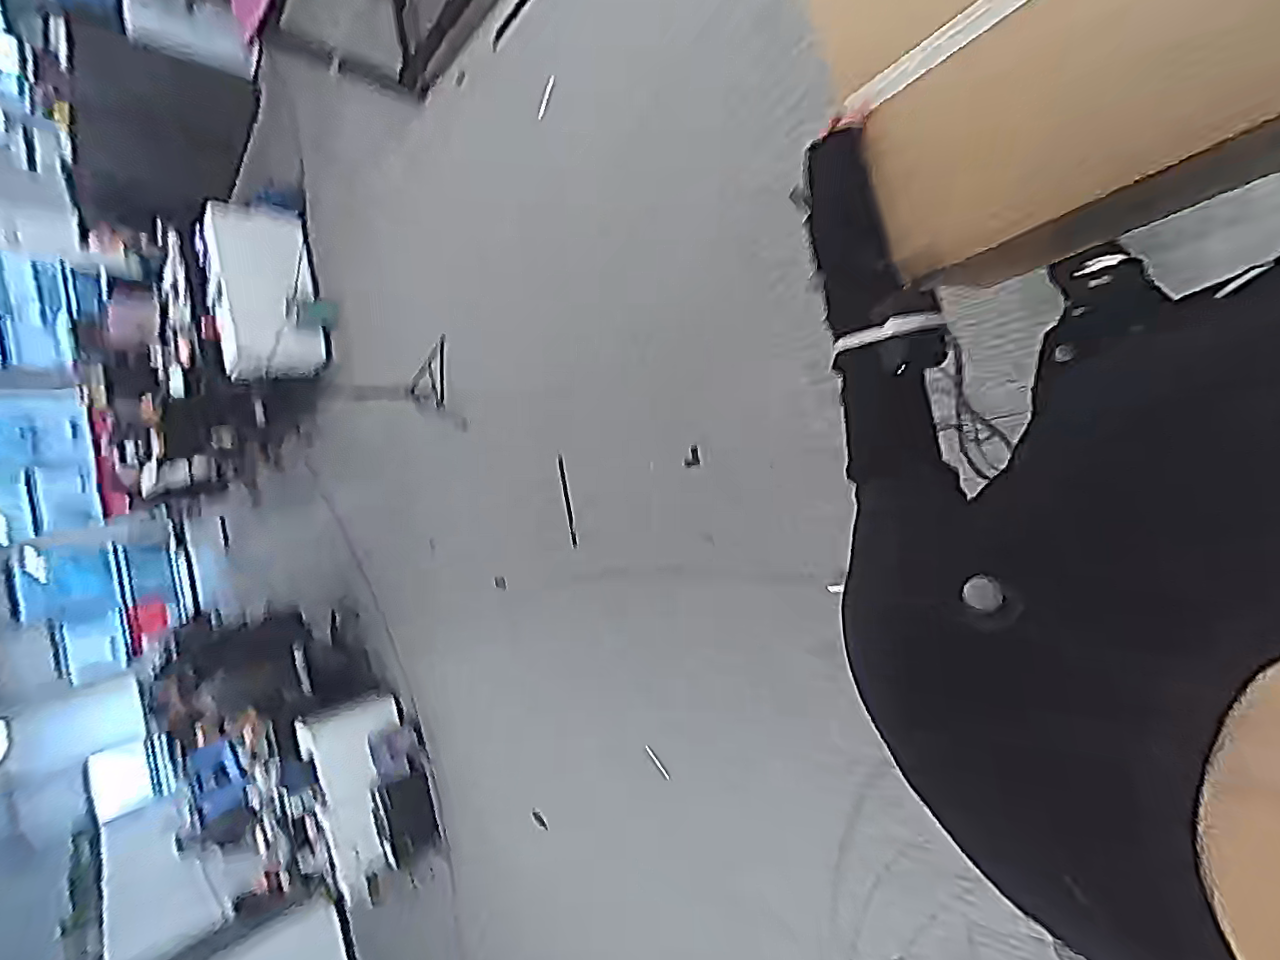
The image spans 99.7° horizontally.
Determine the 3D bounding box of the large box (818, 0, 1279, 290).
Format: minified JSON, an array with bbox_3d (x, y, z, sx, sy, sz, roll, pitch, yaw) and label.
[{"bbox_3d":[0.422,-0.395,0.445,0.408,0.320,0.320,-17,92,44],"label":"large box"}]
